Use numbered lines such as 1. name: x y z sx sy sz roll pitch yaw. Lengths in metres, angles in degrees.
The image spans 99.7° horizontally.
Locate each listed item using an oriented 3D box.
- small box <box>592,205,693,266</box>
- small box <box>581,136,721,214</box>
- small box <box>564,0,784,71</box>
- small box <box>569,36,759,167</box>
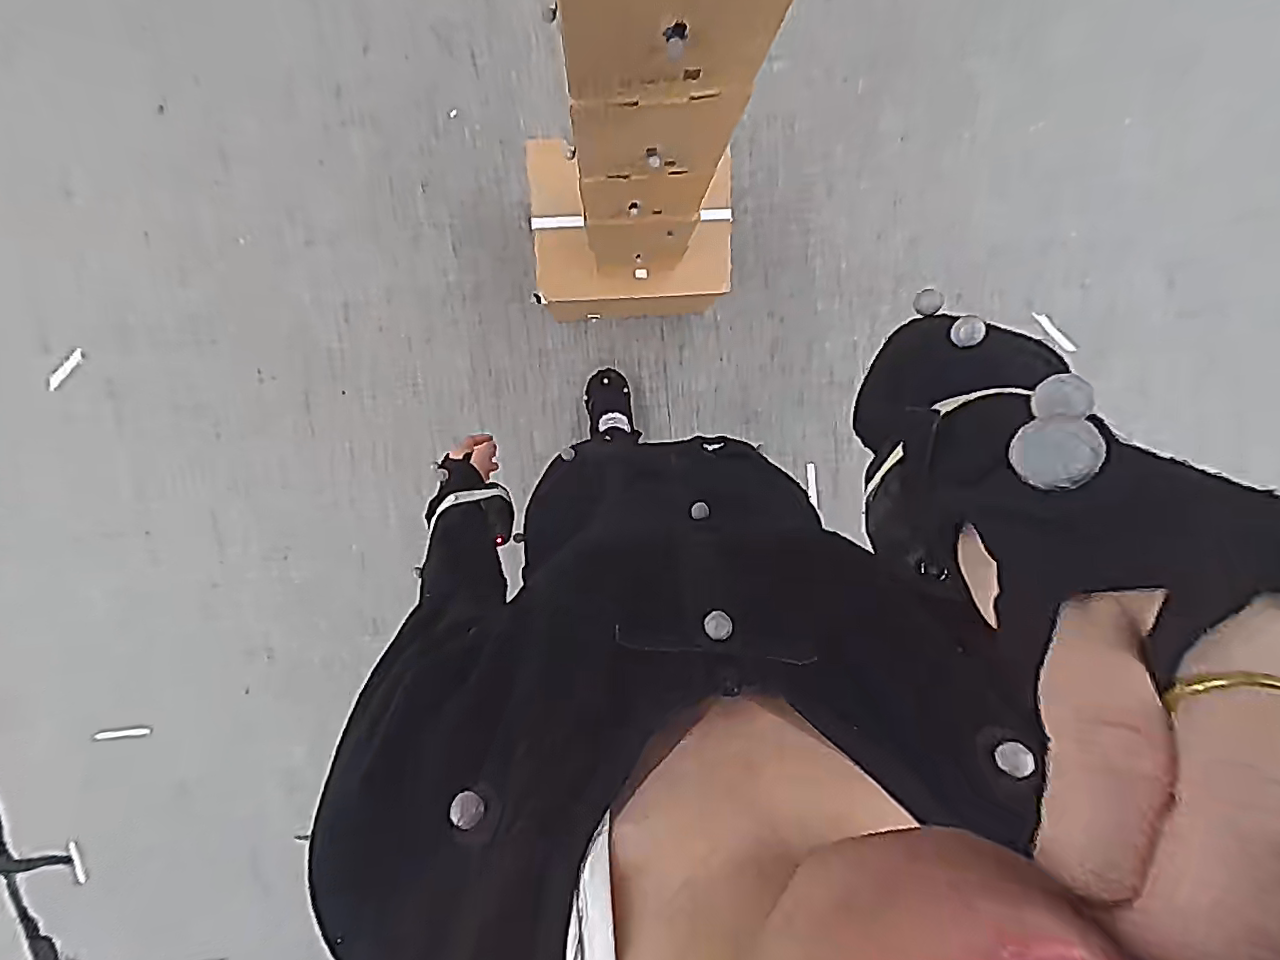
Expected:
1. small box: -0.001 -0.510 1.023 0.179 0.176 0.168 -5 101 -3
2. small box: 0.006 -0.466 0.699 0.168 0.176 0.179 -4 101 -2
3. small box: 0.022 -0.418 0.374 0.168 0.176 0.179 -6 101 -2
4. small box: 0.013 -0.441 0.537 0.168 0.176 0.179 -5 101 -2
